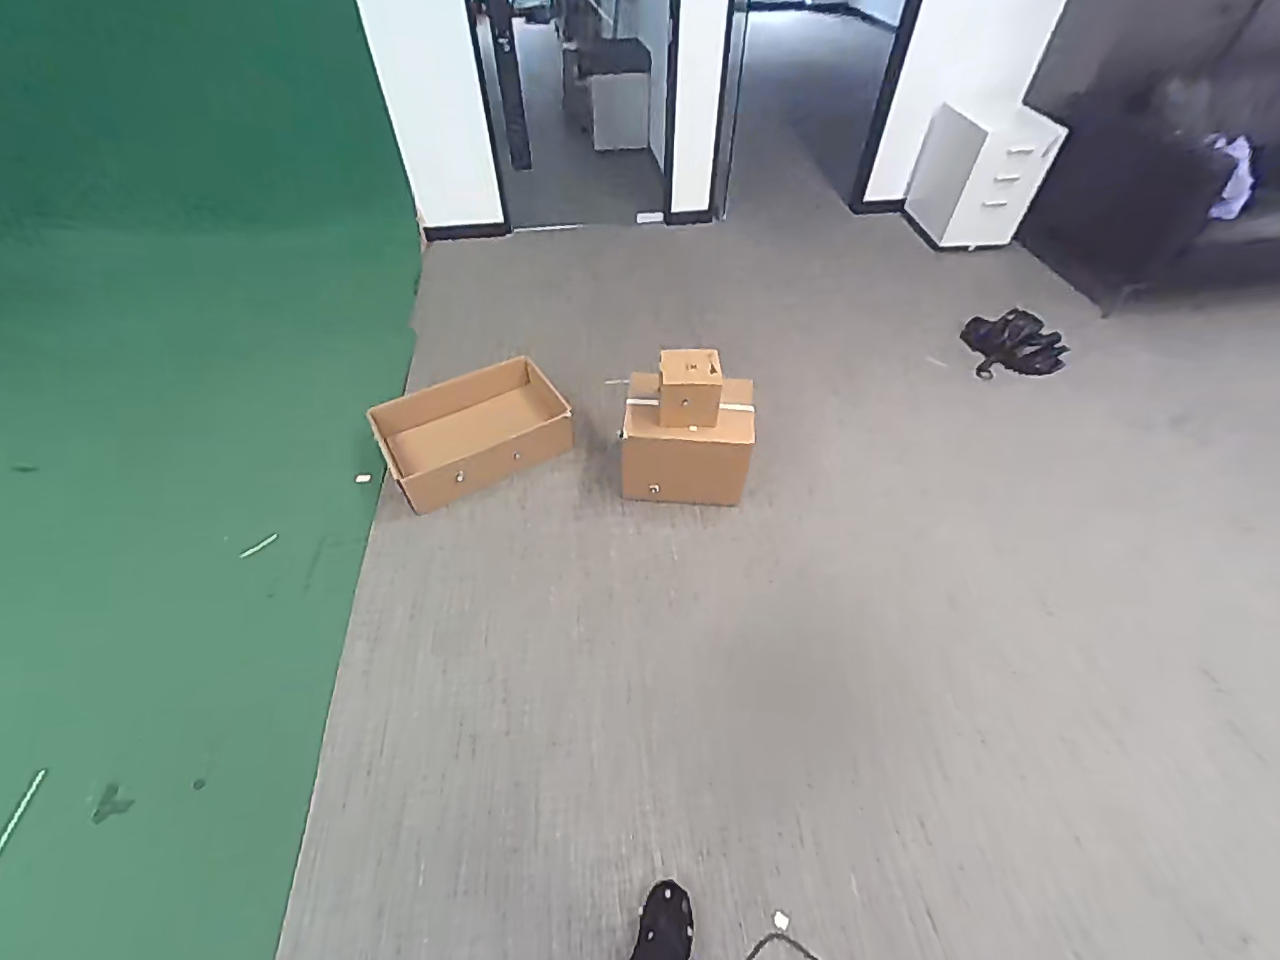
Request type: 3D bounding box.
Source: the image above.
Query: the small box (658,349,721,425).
[{"bbox_3d":[0.145,-0.280,1.645,0.179,0.176,0.168,-1,50,0],"label":"small box"}]
